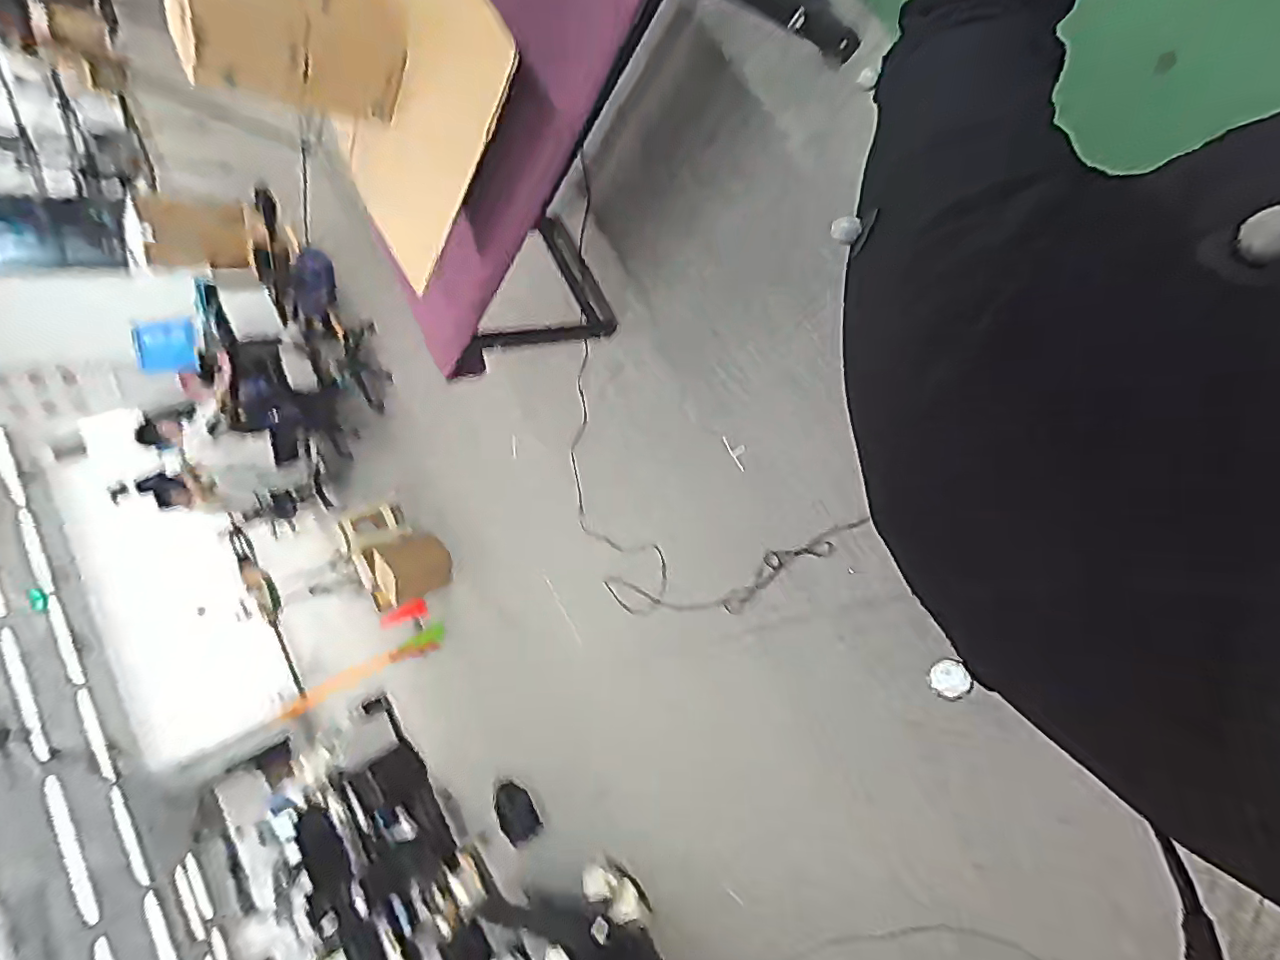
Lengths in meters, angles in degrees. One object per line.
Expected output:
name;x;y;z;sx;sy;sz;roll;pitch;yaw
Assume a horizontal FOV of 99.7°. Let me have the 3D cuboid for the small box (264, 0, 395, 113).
small box;-0.596;-0.847;1.041;0.168;0.176;0.179;-39;76;46
